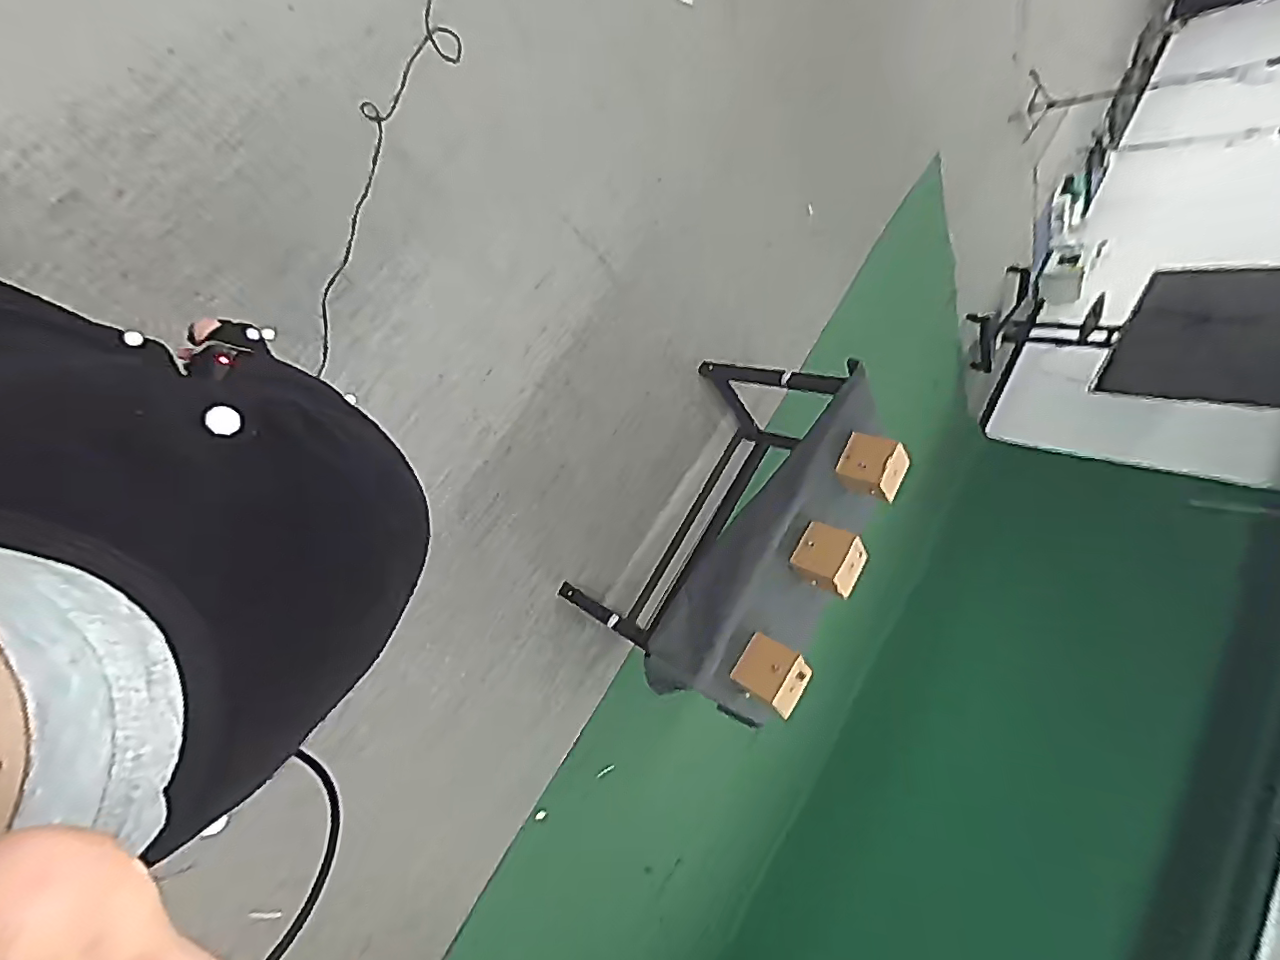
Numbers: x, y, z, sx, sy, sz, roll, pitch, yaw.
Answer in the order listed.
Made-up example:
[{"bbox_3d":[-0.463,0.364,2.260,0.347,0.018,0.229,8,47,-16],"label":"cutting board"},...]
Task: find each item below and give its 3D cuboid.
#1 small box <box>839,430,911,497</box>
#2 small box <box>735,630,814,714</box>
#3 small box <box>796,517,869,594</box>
[{"bbox_3d":[0.828,-0.064,1.913,0.179,0.176,0.168,34,82,-48],"label":"small box"},{"bbox_3d":[0.439,0.621,1.768,0.179,0.176,0.168,-53,134,-17],"label":"small box"},{"bbox_3d":[0.654,0.257,1.854,0.179,0.176,0.168,-56,135,-14],"label":"small box"}]
